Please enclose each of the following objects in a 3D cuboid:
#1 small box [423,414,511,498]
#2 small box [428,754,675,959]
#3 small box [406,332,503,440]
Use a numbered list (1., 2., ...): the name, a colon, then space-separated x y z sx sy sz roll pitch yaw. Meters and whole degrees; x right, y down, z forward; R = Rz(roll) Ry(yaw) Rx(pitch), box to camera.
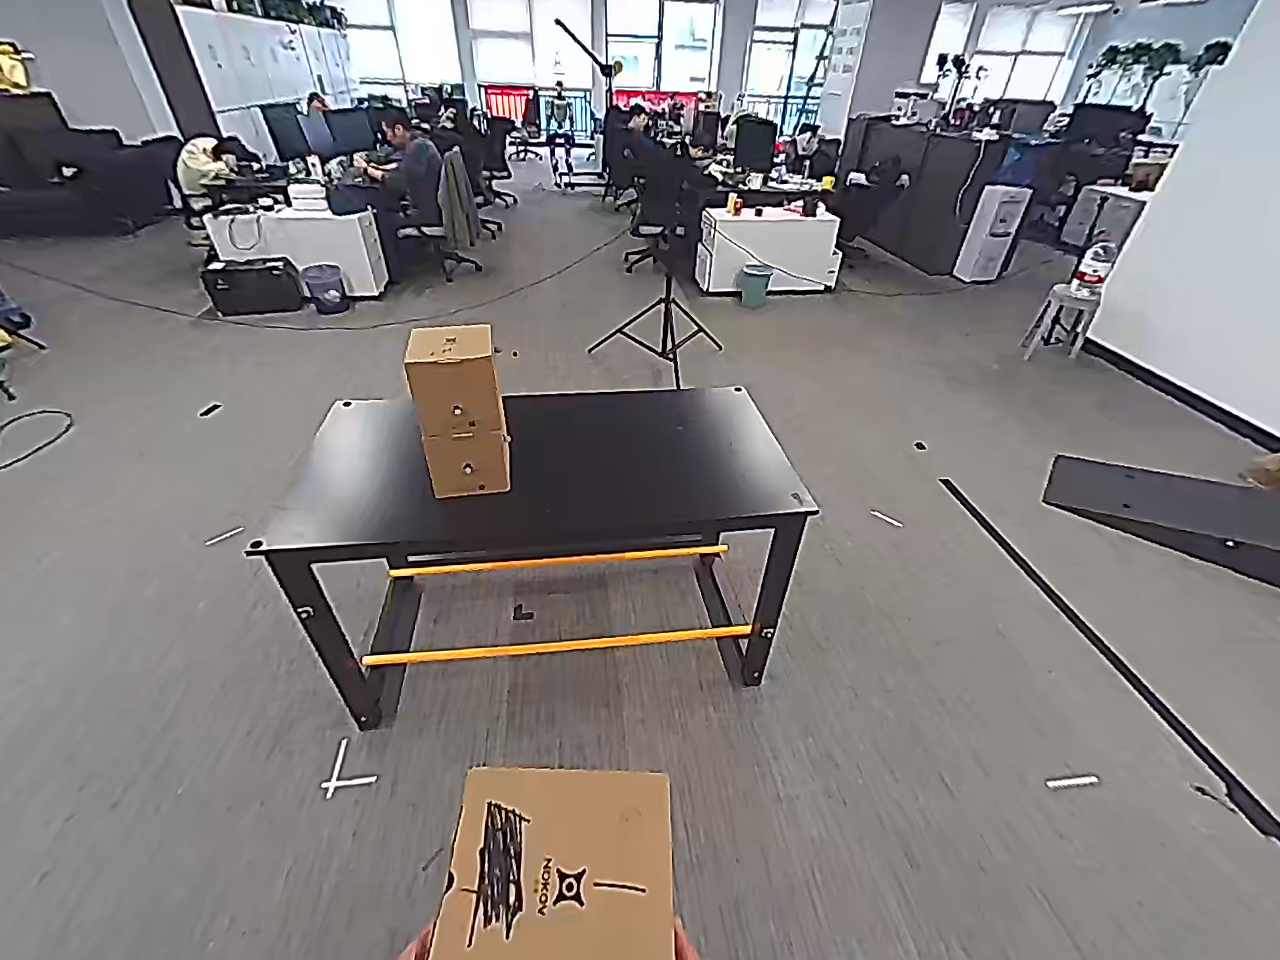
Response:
1. small box: -0.396 -0.070 1.262 0.168 0.176 0.179 -6 38 -10
2. small box: -0.064 0.362 0.473 0.179 0.176 0.168 3 41 -2
3. small box: -0.392 -0.205 1.166 0.168 0.176 0.179 -7 38 -11
